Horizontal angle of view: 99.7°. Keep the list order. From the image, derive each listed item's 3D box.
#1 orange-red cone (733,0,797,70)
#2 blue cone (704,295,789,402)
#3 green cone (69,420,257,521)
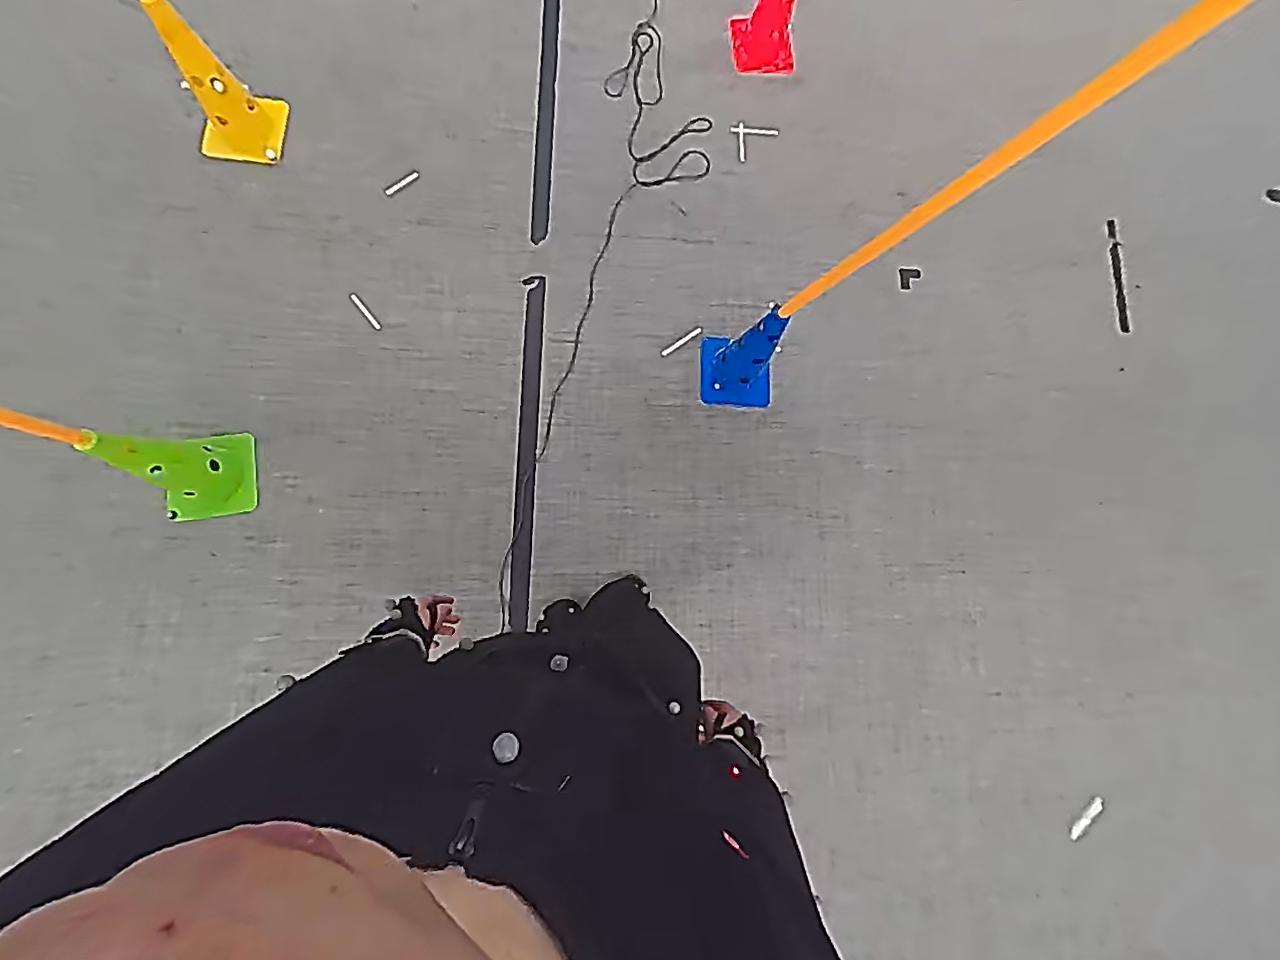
[{"bbox_3d":[0.417,-1.432,1.566,0.199,0.360,0.198,-4,80,-6],"label":"orange-red cone"},{"bbox_3d":[0.291,-0.346,1.366,0.193,0.380,0.192,4,78,-6],"label":"blue cone"},{"bbox_3d":[-1.022,-0.047,1.147,0.200,0.368,0.202,-9,79,-8],"label":"green cone"}]
